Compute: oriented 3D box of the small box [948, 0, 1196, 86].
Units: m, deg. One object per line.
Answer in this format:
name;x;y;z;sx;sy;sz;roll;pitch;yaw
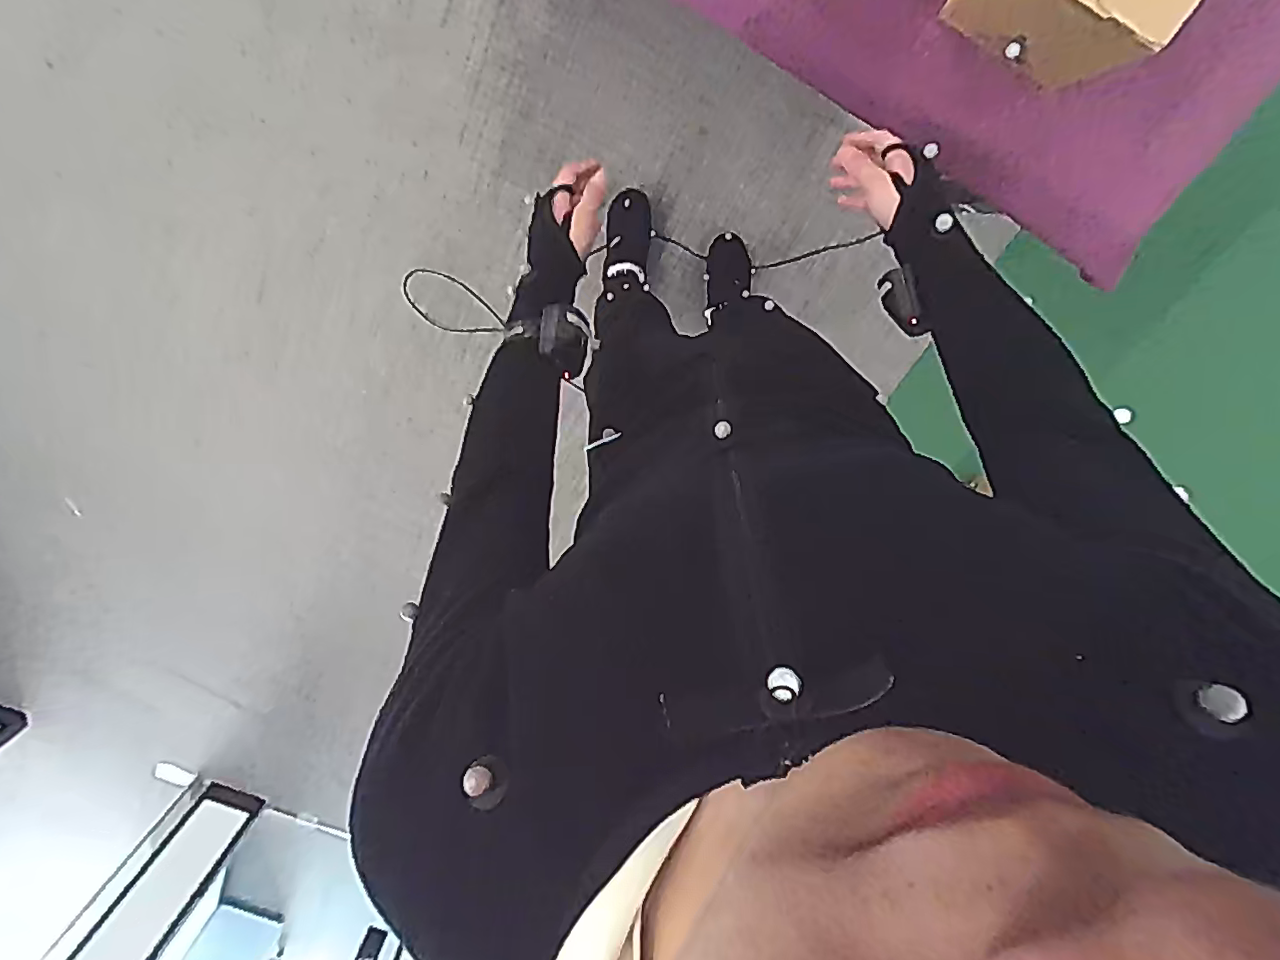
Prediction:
small box;0.443;-0.528;0.519;0.168;0.176;0.179;26;116;-7
